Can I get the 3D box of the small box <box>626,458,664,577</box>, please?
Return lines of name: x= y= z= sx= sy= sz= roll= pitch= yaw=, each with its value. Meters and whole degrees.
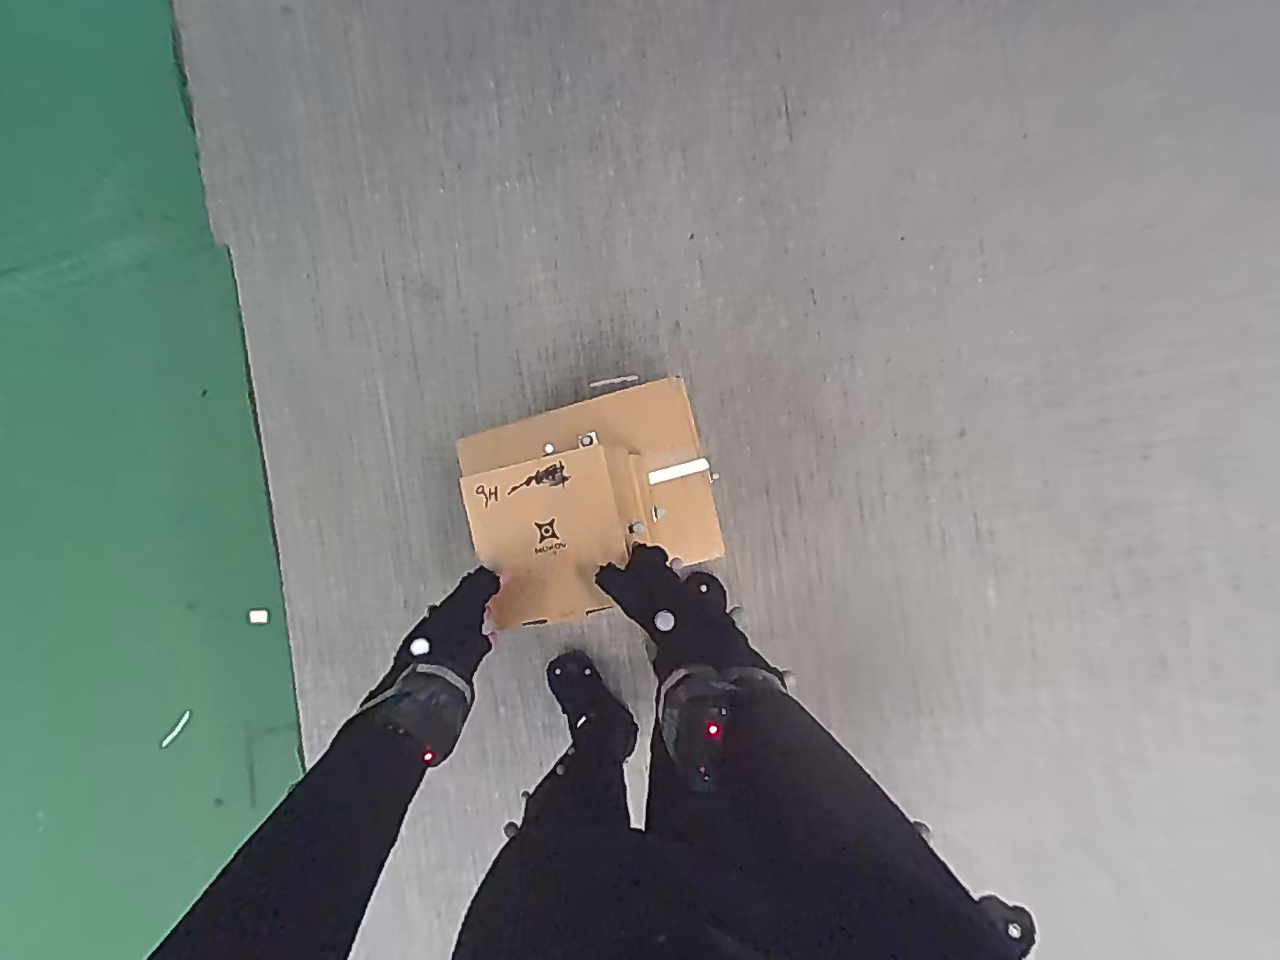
small box: x=-0.067 y=0.066 z=0.820 sx=0.179 sy=0.176 sz=0.168 roll=-12 pitch=91 yaw=6

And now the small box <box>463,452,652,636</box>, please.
small box: x=-0.086 y=0.066 z=0.658 sx=0.168 sy=0.176 sz=0.179 roll=-13 pitch=91 yaw=7
